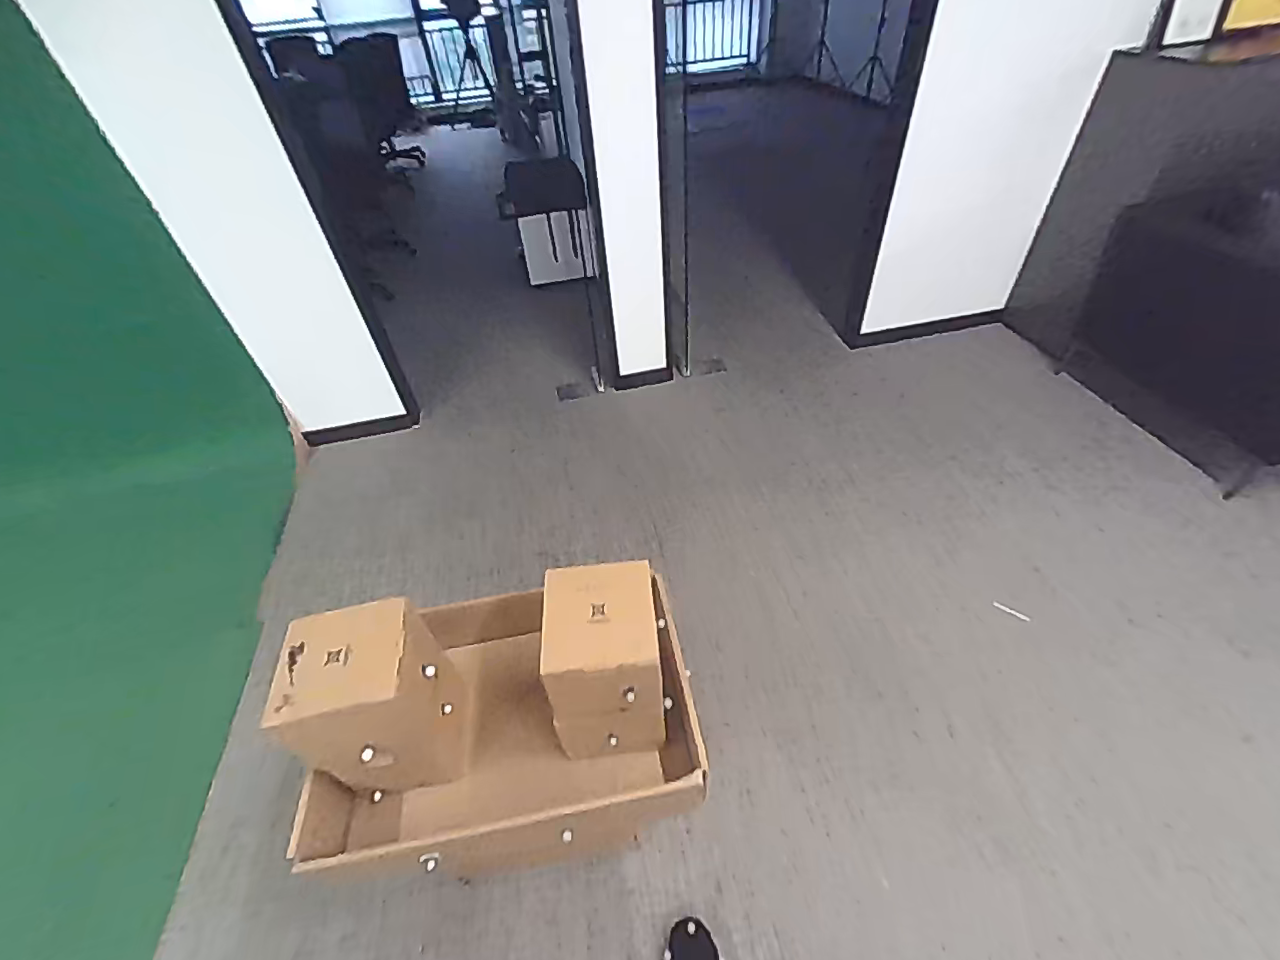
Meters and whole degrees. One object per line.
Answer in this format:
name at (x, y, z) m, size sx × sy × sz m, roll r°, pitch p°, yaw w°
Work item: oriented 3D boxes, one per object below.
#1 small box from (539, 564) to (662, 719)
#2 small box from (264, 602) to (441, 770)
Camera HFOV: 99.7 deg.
small box at (-0.056, 0.258, 0.846) m, size 0.168 × 0.176 × 0.179 m, roll -5°, pitch 43°, yaw -1°
small box at (-0.417, 0.314, 0.825) m, size 0.179 × 0.176 × 0.168 m, roll -10°, pitch 44°, yaw -6°
